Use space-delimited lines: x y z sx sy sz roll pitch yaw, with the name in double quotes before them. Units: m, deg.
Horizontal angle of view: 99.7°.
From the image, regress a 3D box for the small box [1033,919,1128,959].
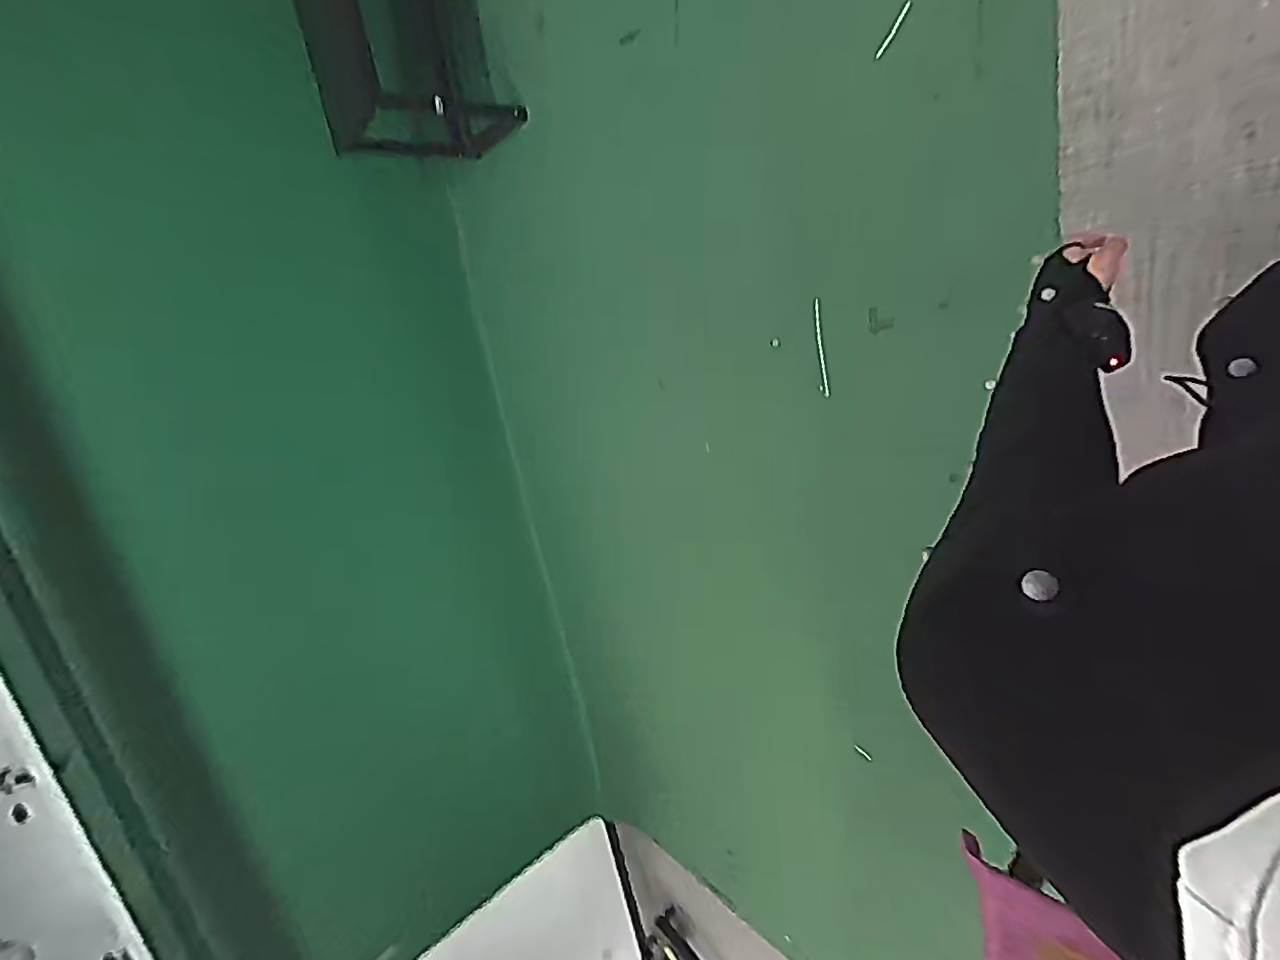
"small box" 0.783 0.933 0.931 0.168 0.176 0.179 5 112 51
